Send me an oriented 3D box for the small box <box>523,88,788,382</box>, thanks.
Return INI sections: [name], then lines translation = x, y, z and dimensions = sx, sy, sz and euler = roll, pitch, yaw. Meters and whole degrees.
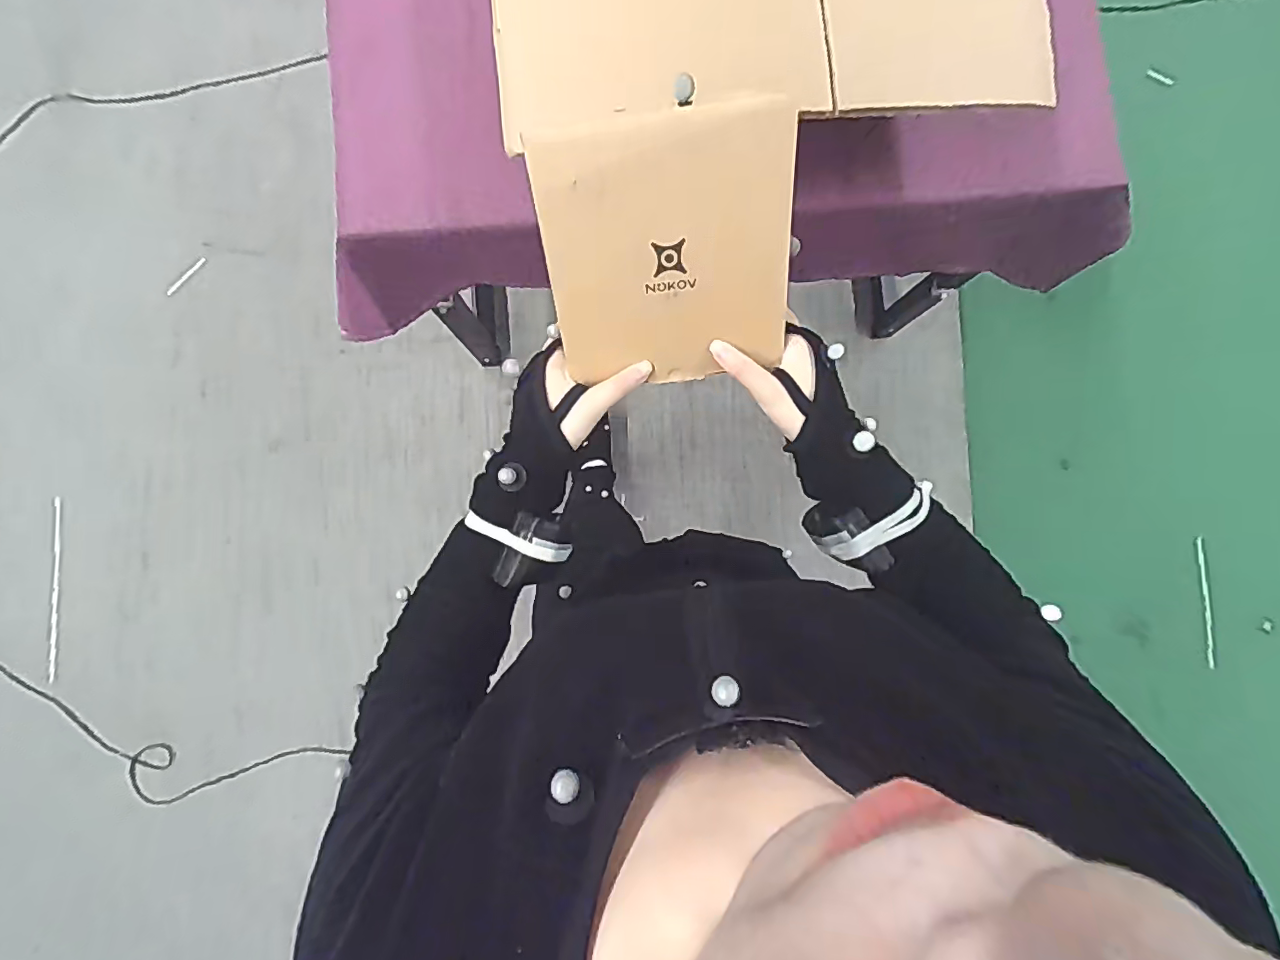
[small box]
translation = 0.012, -0.203, 0.438
dimensions = 0.168, 0.176, 0.179
euler = -6, 129, 2
